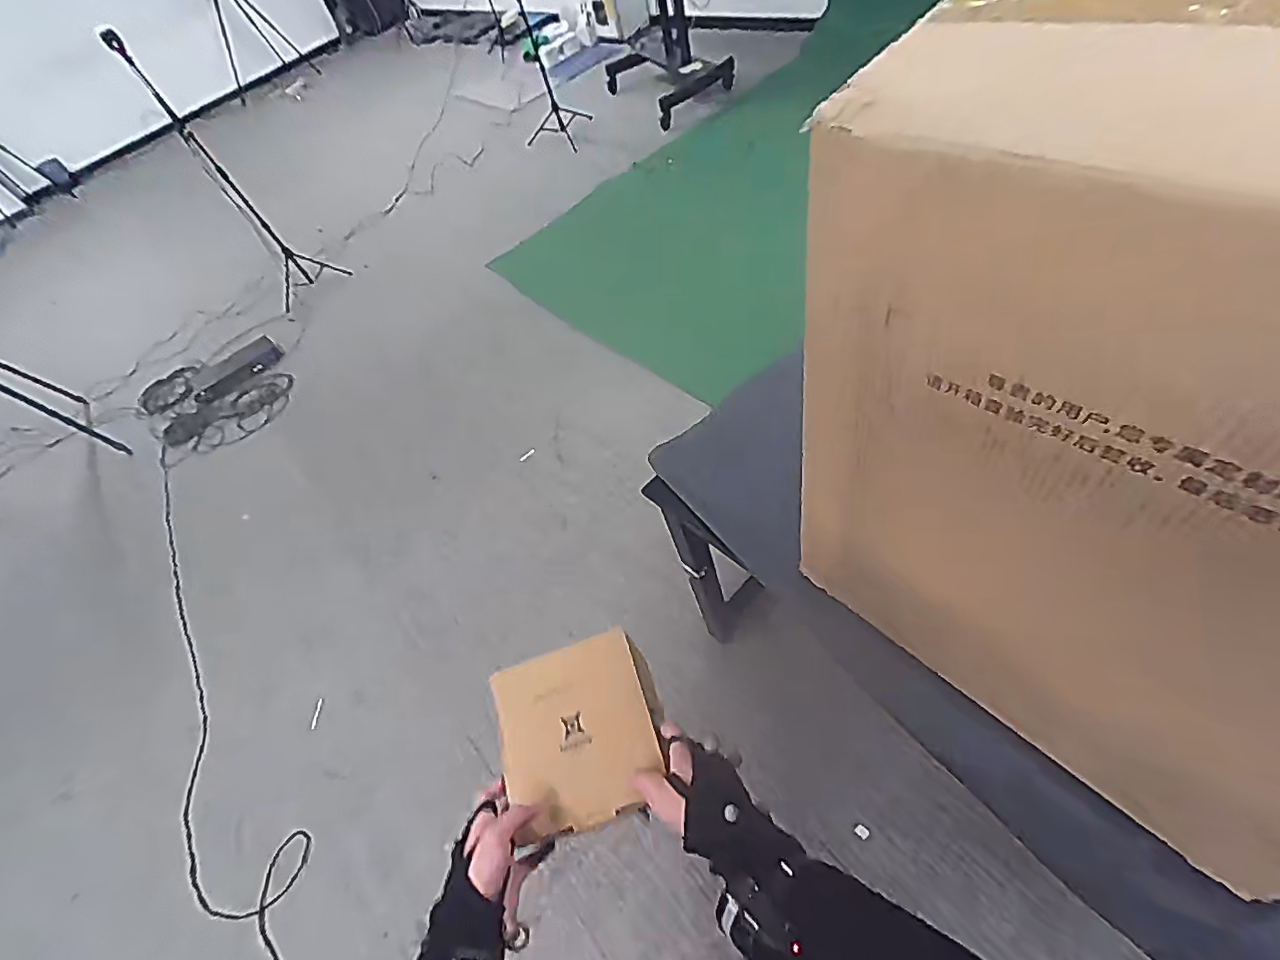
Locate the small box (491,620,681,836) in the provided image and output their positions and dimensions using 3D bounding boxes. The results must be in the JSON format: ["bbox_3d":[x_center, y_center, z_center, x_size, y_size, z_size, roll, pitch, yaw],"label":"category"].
[{"bbox_3d":[-0.057,0.295,0.646,0.168,0.176,0.179,-19,58,-2],"label":"small box"}]
